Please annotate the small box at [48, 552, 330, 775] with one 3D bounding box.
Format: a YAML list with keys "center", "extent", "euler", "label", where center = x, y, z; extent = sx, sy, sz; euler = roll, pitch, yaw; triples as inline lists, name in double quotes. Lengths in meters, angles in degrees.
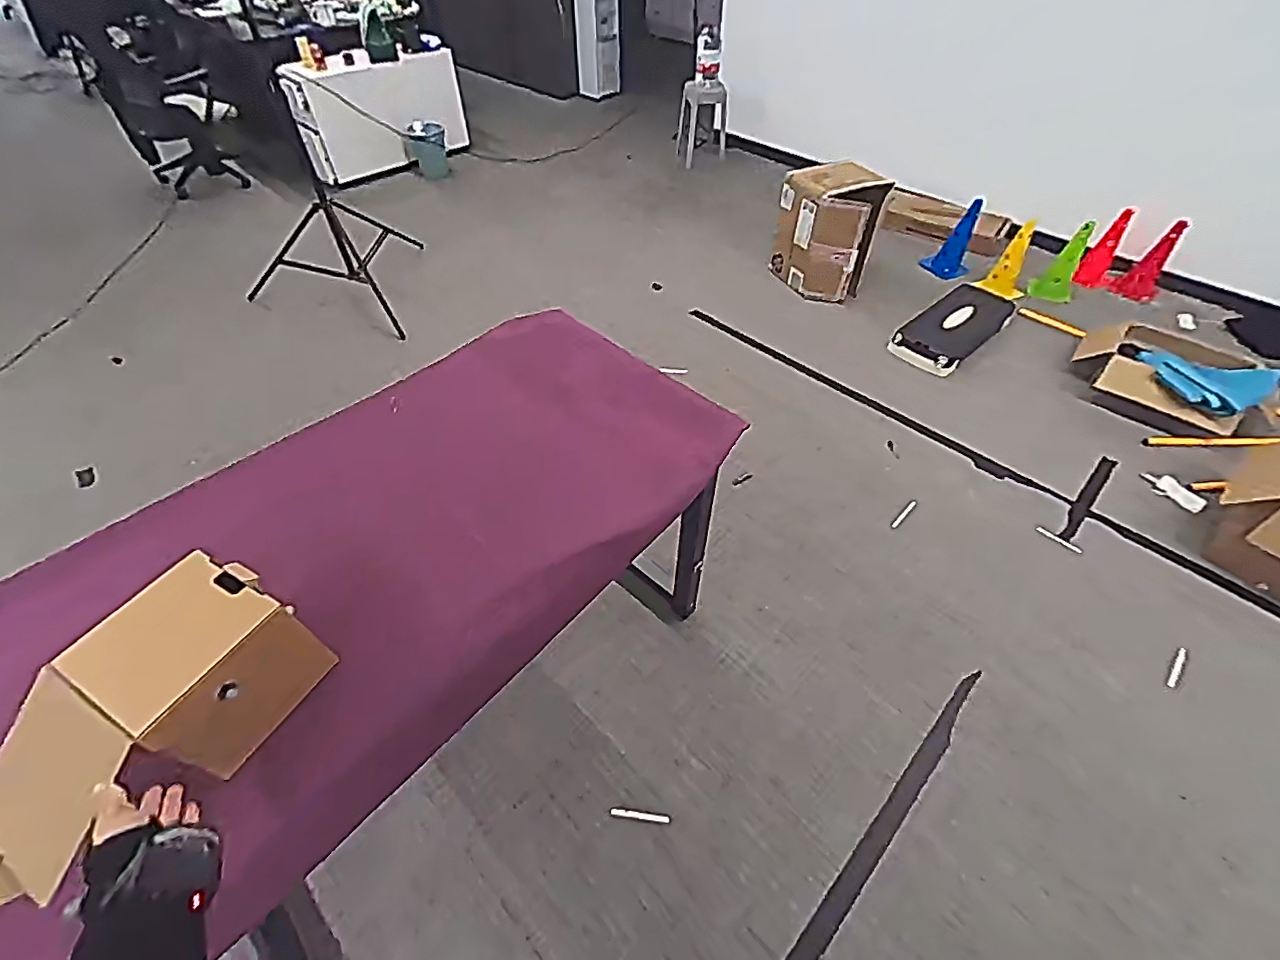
- center: [-0.535, 0.229, 0.671]
  extent: [0.168, 0.176, 0.179]
  euler: [23, 52, 18]
  label: "small box"
